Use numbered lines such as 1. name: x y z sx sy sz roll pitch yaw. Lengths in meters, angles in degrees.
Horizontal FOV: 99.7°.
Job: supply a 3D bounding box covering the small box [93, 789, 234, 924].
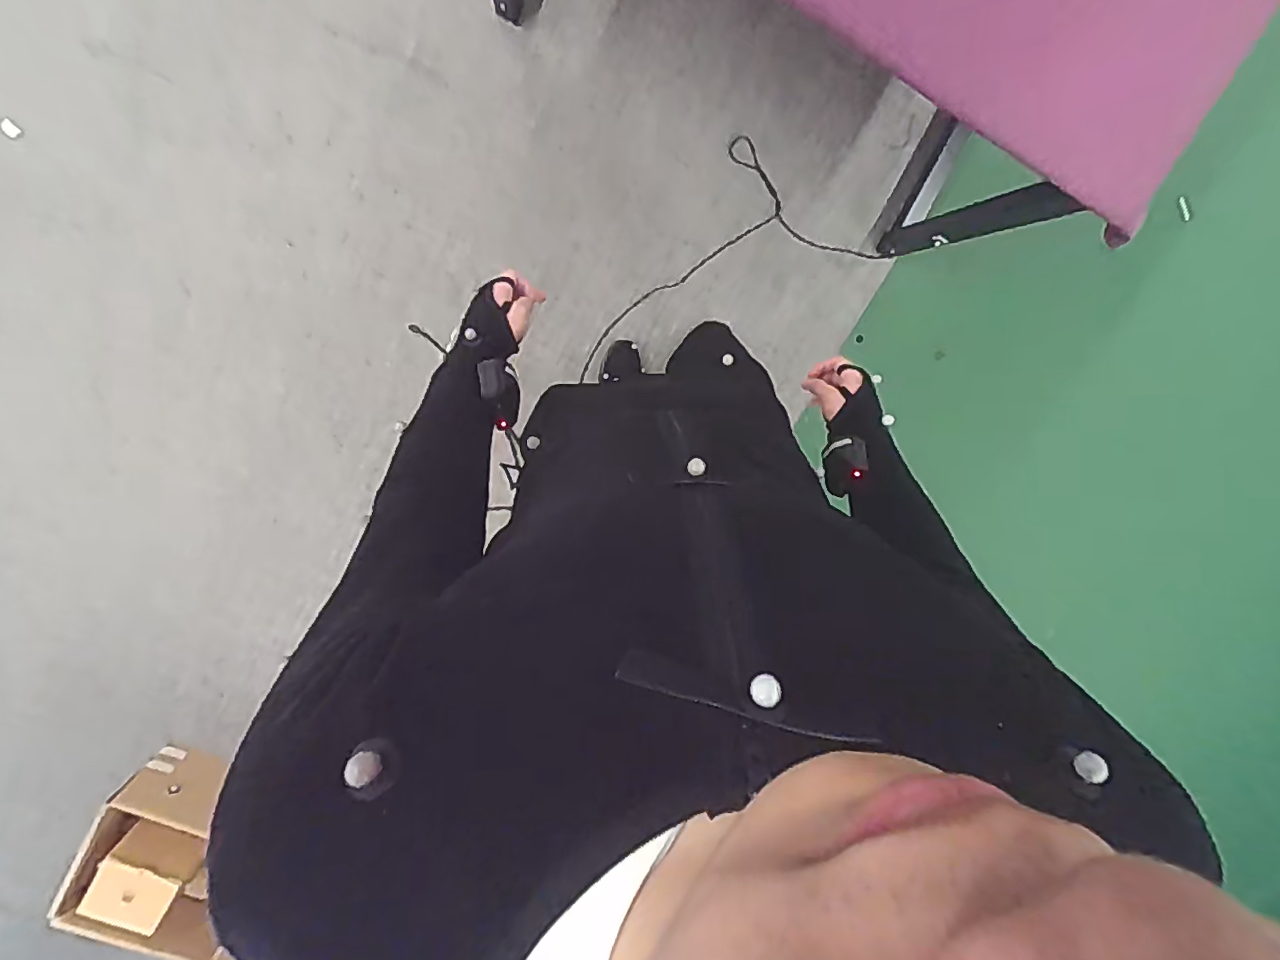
1. small box: -1.130 0.896 1.298 0.168 0.176 0.179 32 100 -11
